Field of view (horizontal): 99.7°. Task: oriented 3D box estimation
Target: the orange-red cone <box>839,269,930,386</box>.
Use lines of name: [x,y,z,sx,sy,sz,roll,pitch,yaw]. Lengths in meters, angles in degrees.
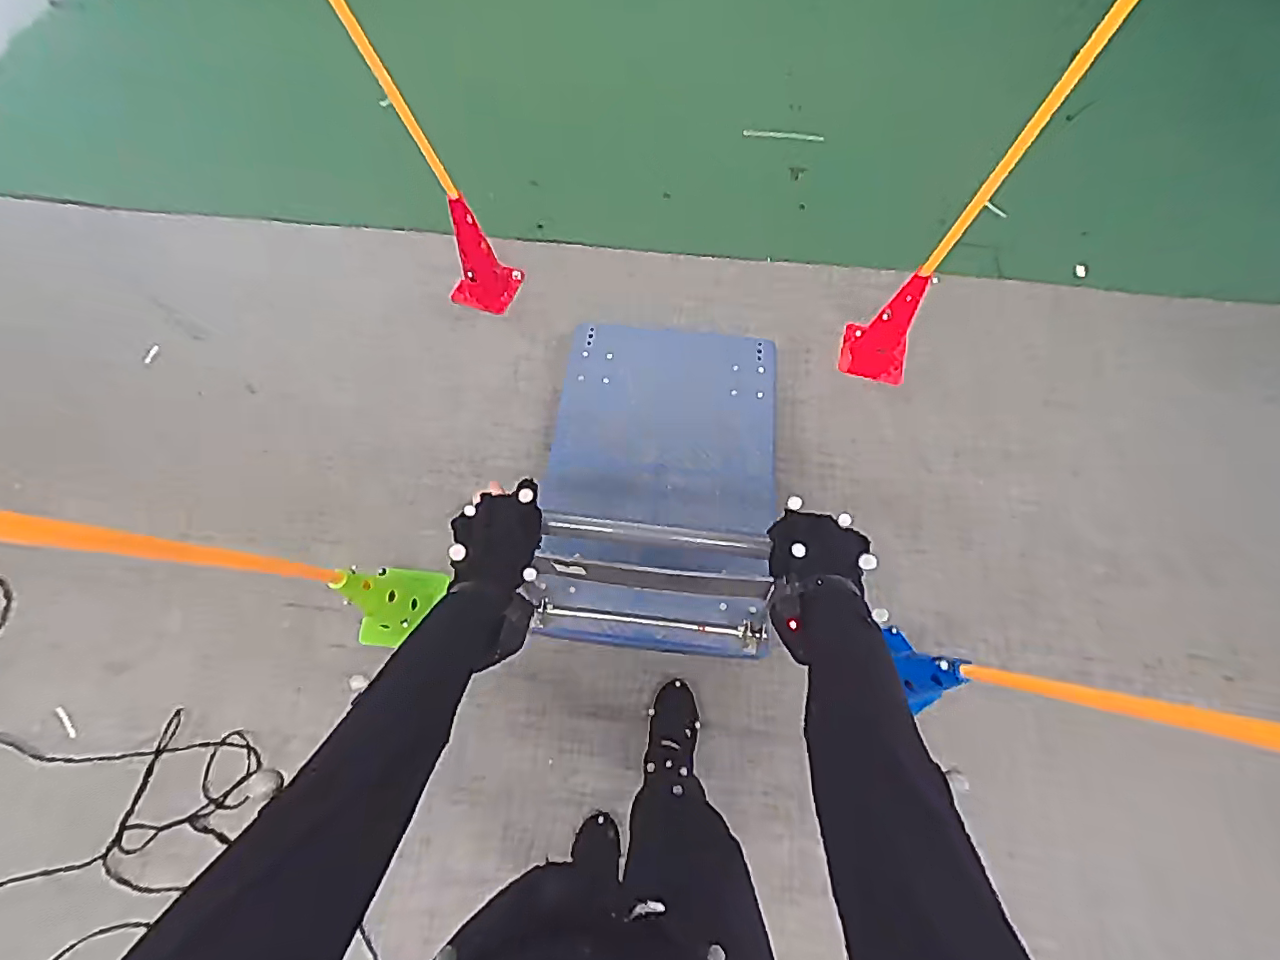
orange-red cone: [0.738,-0.461,1.558,0.198,0.360,0.199,16,69,8]
